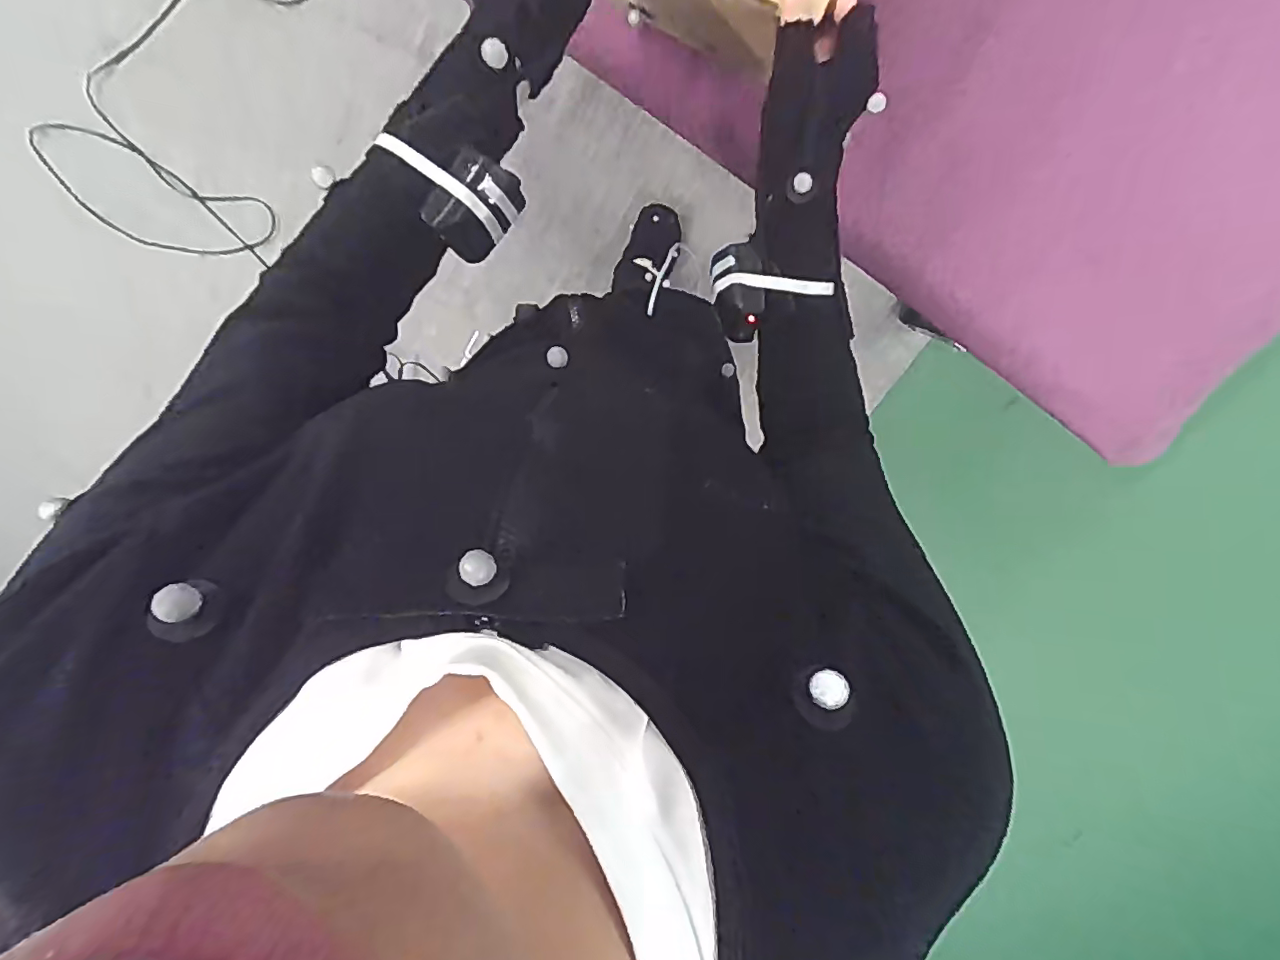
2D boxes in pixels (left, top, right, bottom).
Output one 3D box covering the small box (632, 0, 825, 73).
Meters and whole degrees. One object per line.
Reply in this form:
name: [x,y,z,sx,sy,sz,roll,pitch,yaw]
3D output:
small box: [0.081,-0.449,0.403,0.168,0.176,0.179,20,113,-10]
